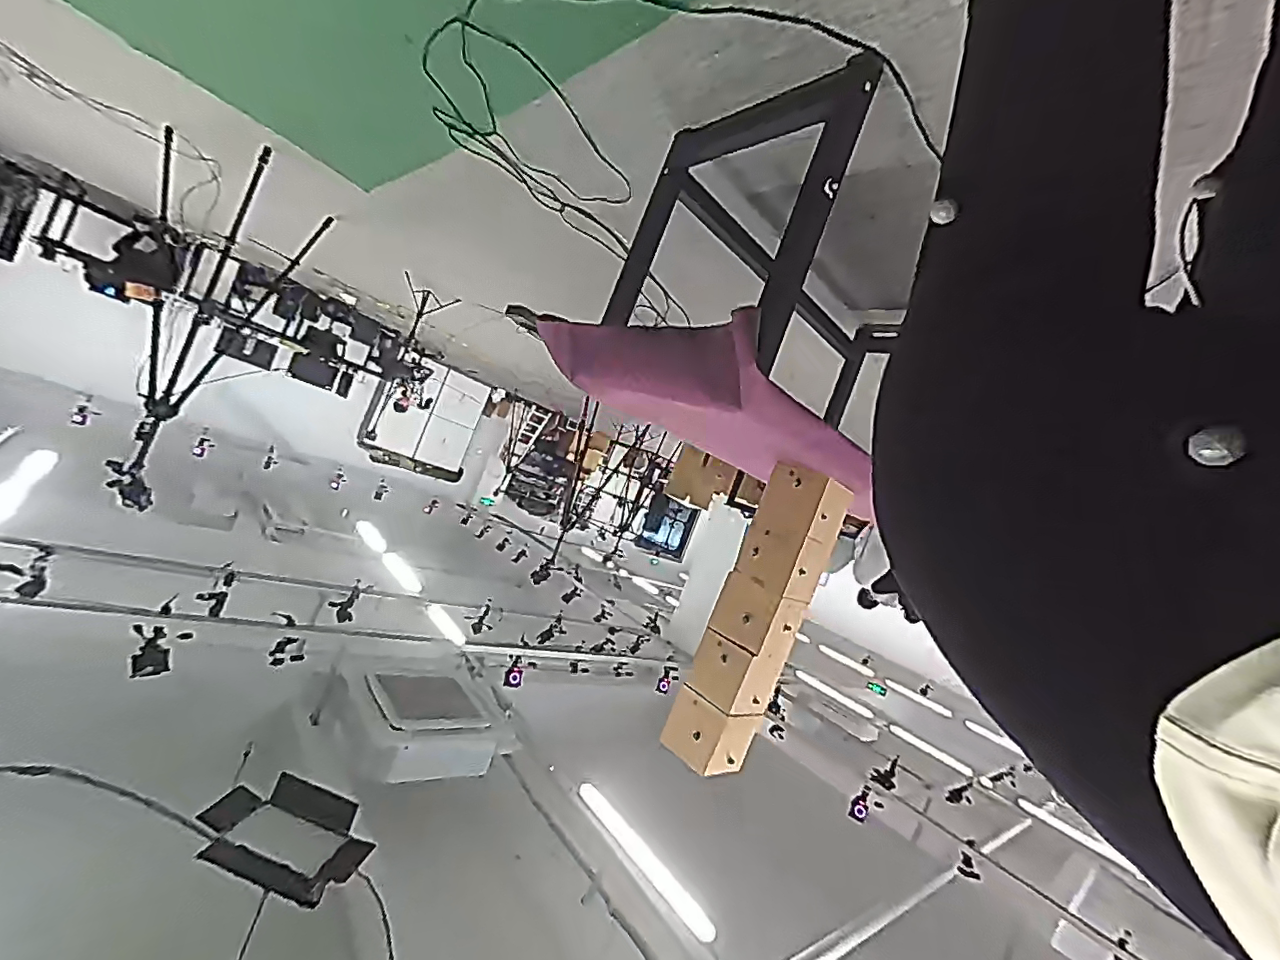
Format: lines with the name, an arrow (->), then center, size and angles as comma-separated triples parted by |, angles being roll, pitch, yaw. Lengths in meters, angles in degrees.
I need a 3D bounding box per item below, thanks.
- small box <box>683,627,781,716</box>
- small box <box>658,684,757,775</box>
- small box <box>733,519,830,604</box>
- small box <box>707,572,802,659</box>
small box -> 0.254, 0.517, 1.469 | 0.179, 0.176, 0.168 | 26, 177, -44
small box -> 0.186, 0.664, 1.463 | 0.179, 0.176, 0.168 | 24, 179, -44
small box -> 0.387, 0.218, 1.471 | 0.168, 0.176, 0.179 | 21, 178, 44
small box -> 0.320, 0.366, 1.471 | 0.179, 0.176, 0.168 | 21, 177, 44
